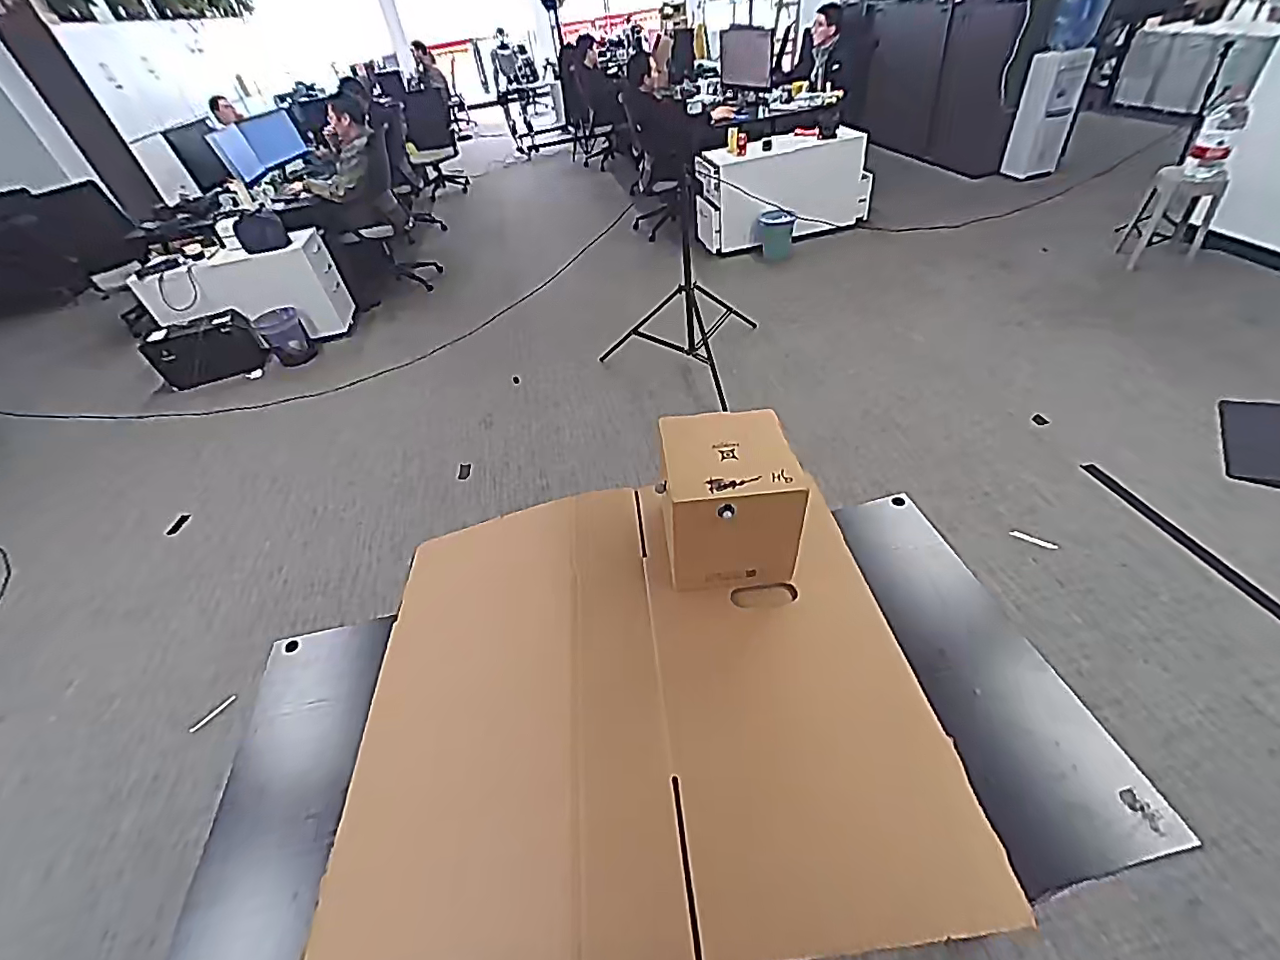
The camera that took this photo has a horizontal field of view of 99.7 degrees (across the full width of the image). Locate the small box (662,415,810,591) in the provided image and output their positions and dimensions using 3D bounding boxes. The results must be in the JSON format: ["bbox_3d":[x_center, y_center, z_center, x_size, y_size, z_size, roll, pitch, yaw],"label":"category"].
[{"bbox_3d":[0.120,0.031,0.753,0.168,0.176,0.179,-6,40,0],"label":"small box"}]
